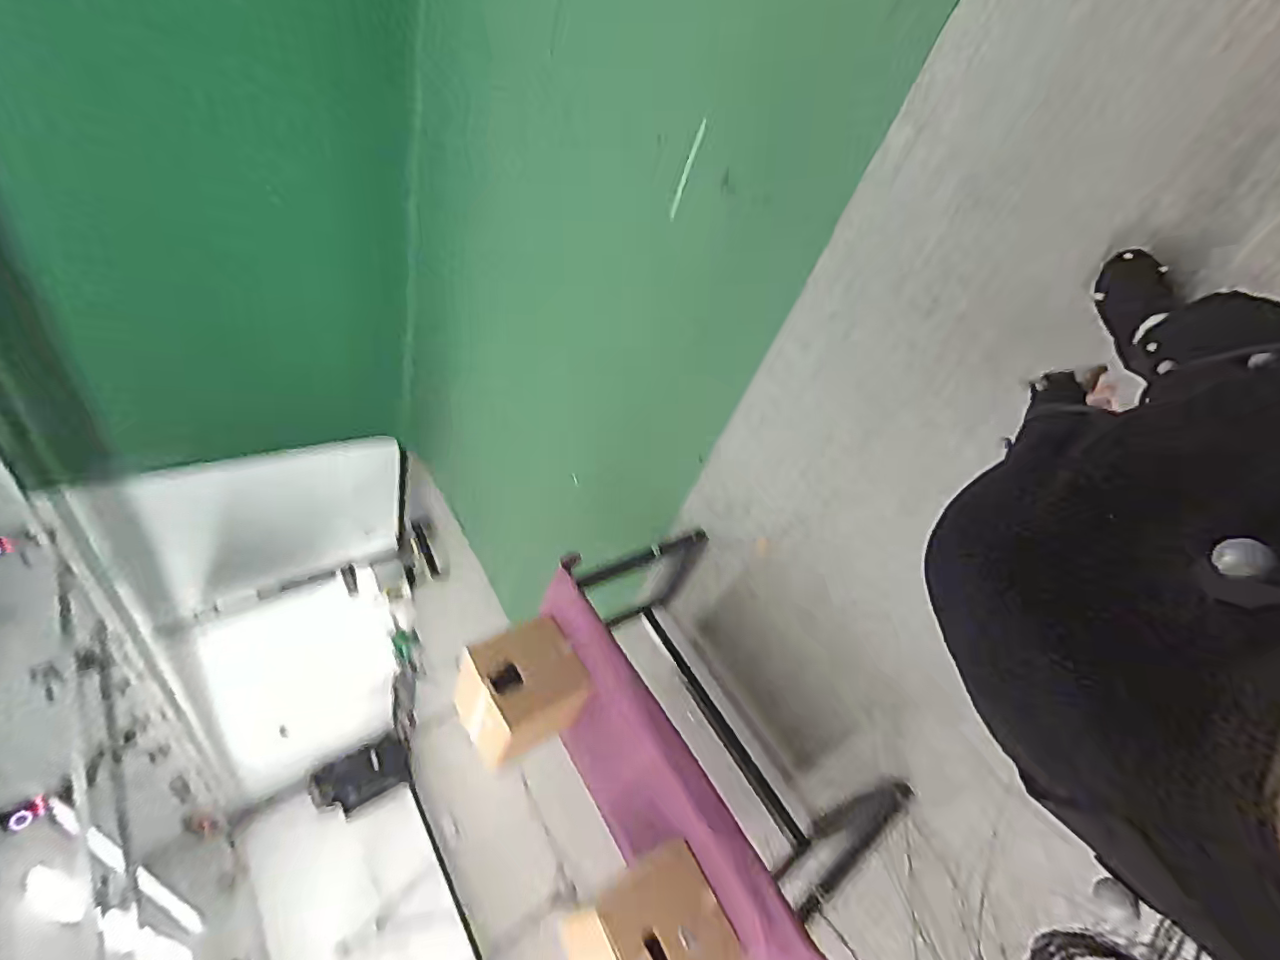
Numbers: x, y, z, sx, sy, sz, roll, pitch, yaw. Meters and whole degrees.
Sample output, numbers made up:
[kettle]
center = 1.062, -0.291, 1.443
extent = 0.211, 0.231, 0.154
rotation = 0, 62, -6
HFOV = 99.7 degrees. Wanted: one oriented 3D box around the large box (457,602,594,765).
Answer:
[large box]
center = -0.405, 0.696, 1.868
extent = 0.320, 0.320, 0.408
rotation = 50, 136, 26
